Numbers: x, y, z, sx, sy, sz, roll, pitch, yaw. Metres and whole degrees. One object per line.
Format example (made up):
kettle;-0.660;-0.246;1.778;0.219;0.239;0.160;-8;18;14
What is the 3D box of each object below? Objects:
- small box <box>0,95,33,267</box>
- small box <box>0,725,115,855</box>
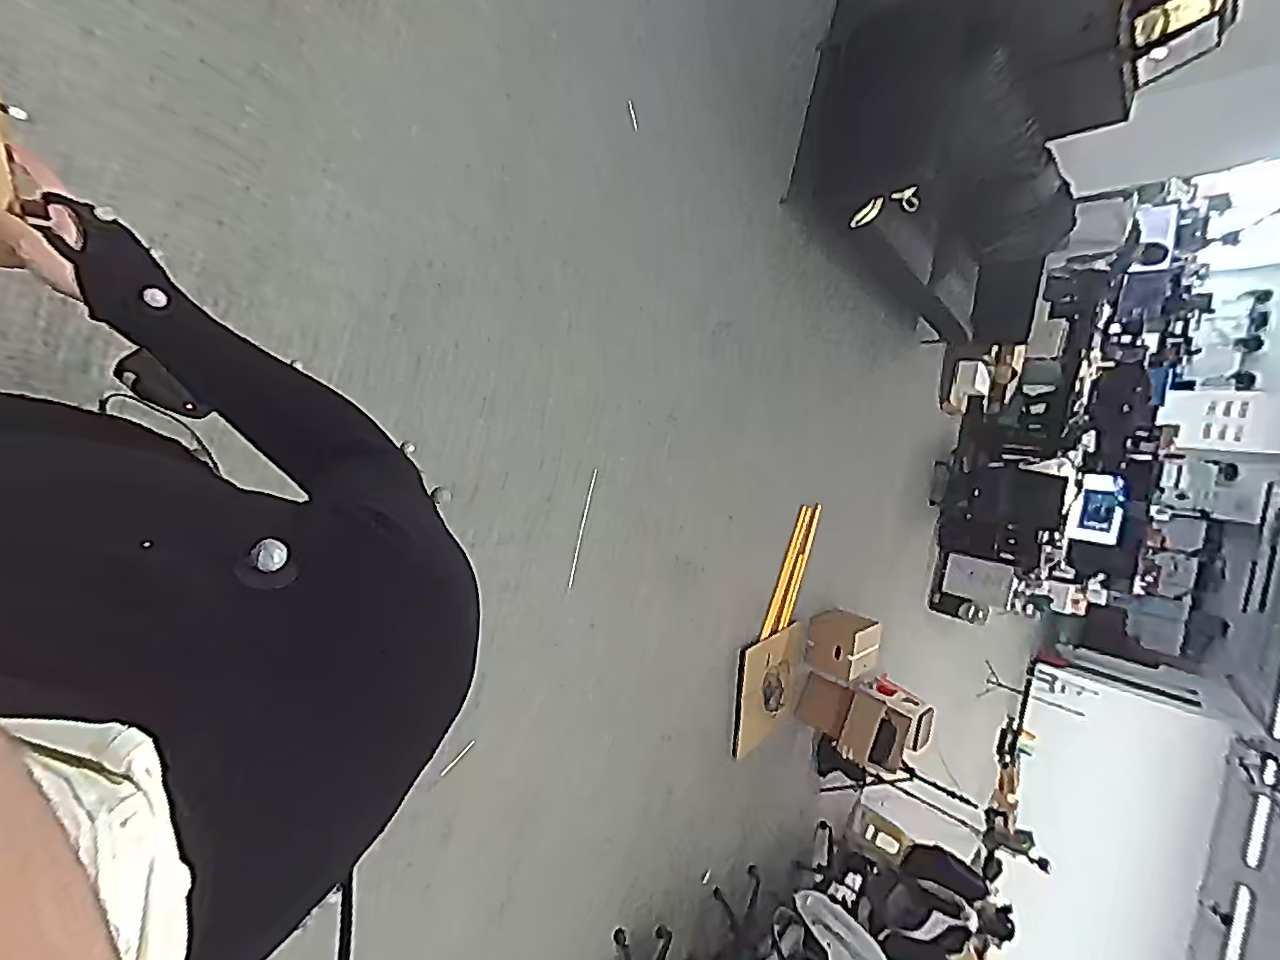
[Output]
small box;-0.635;-0.281;0.439;0.168;0.176;0.179;-11;117;-43
small box;-1.233;0.634;1.128;0.179;0.176;0.168;13;90;-44
